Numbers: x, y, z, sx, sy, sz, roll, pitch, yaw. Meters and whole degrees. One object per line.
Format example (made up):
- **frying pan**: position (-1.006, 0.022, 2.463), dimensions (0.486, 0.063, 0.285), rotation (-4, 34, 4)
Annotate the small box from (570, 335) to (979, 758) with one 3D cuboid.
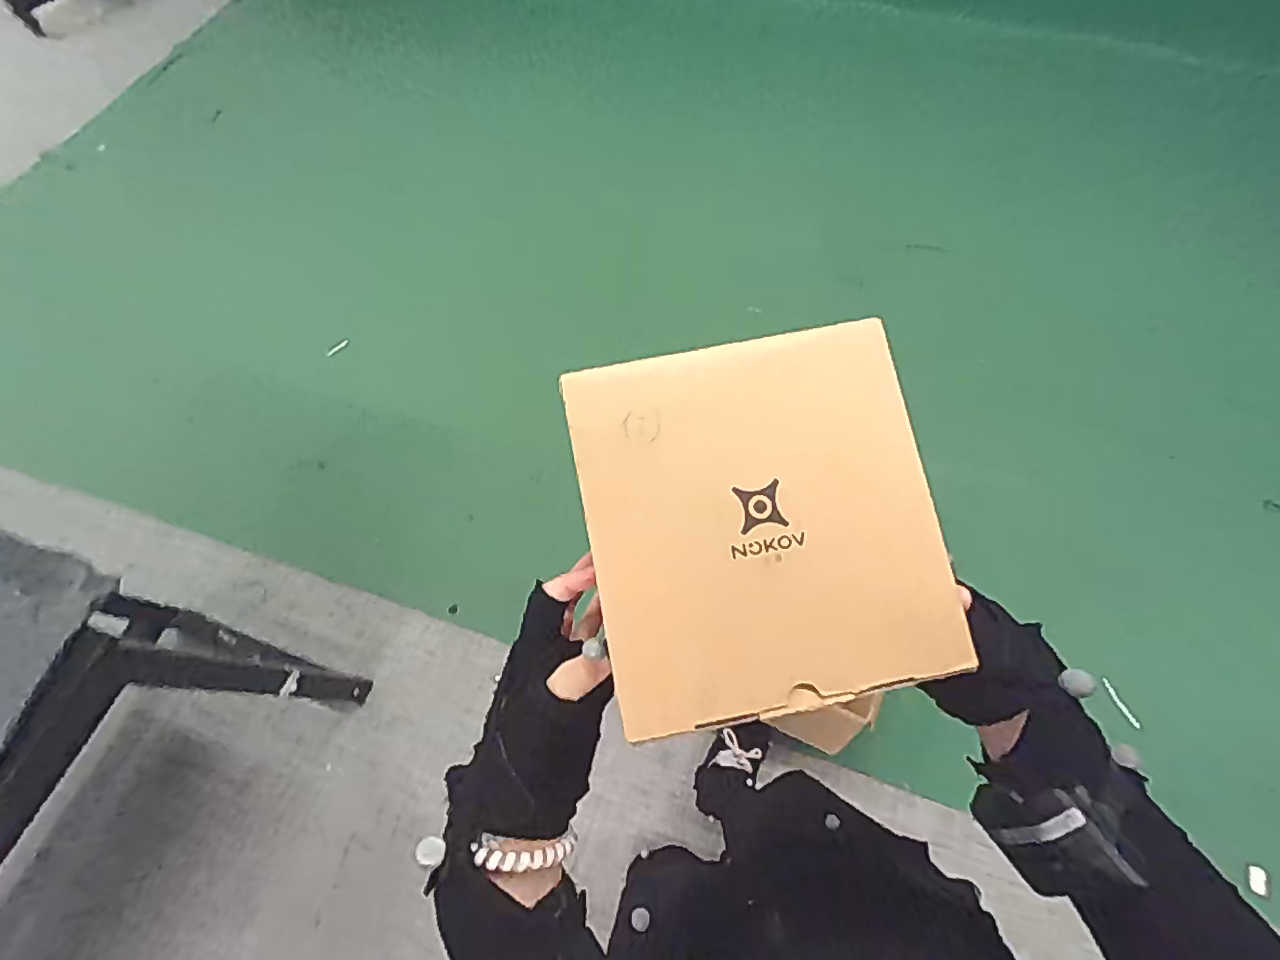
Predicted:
- **small box**: position (0.055, 0.037, 0.332), dimensions (0.168, 0.176, 0.179), rotation (-11, 81, -4)
